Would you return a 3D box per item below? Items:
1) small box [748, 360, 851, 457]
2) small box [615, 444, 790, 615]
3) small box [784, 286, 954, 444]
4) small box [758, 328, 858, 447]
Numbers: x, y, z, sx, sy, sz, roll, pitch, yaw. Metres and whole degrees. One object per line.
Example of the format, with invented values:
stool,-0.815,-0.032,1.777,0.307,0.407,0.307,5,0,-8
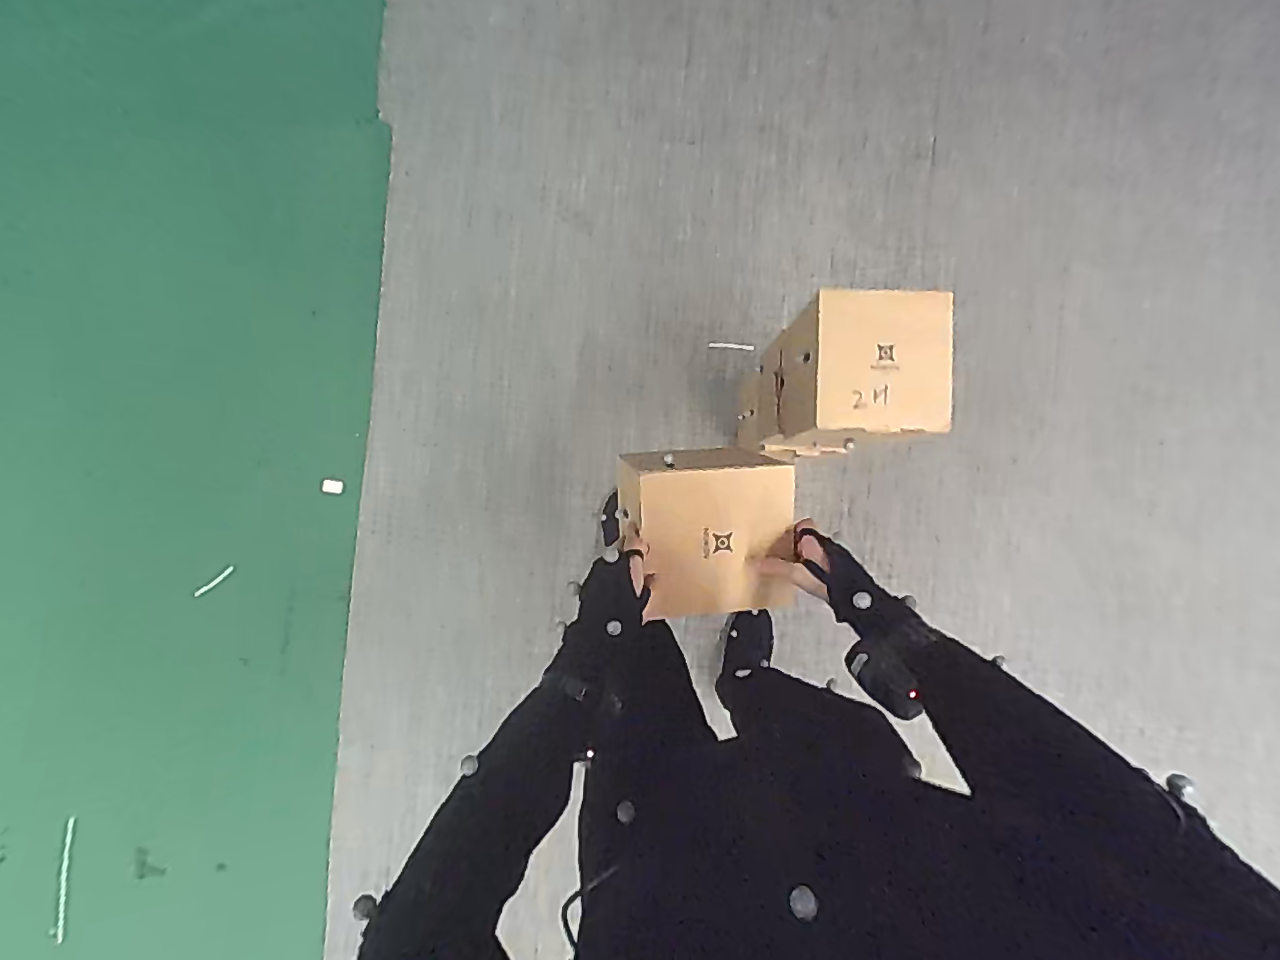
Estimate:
small box,0.312,-0.137,1.068,0.168,0.176,0.179,2,90,1
small box,0.067,0.048,0.664,0.179,0.176,0.168,-4,100,-7
small box,0.299,-0.147,0.739,0.168,0.176,0.179,2,90,2
small box,0.300,-0.145,0.904,0.179,0.176,0.168,3,89,1
